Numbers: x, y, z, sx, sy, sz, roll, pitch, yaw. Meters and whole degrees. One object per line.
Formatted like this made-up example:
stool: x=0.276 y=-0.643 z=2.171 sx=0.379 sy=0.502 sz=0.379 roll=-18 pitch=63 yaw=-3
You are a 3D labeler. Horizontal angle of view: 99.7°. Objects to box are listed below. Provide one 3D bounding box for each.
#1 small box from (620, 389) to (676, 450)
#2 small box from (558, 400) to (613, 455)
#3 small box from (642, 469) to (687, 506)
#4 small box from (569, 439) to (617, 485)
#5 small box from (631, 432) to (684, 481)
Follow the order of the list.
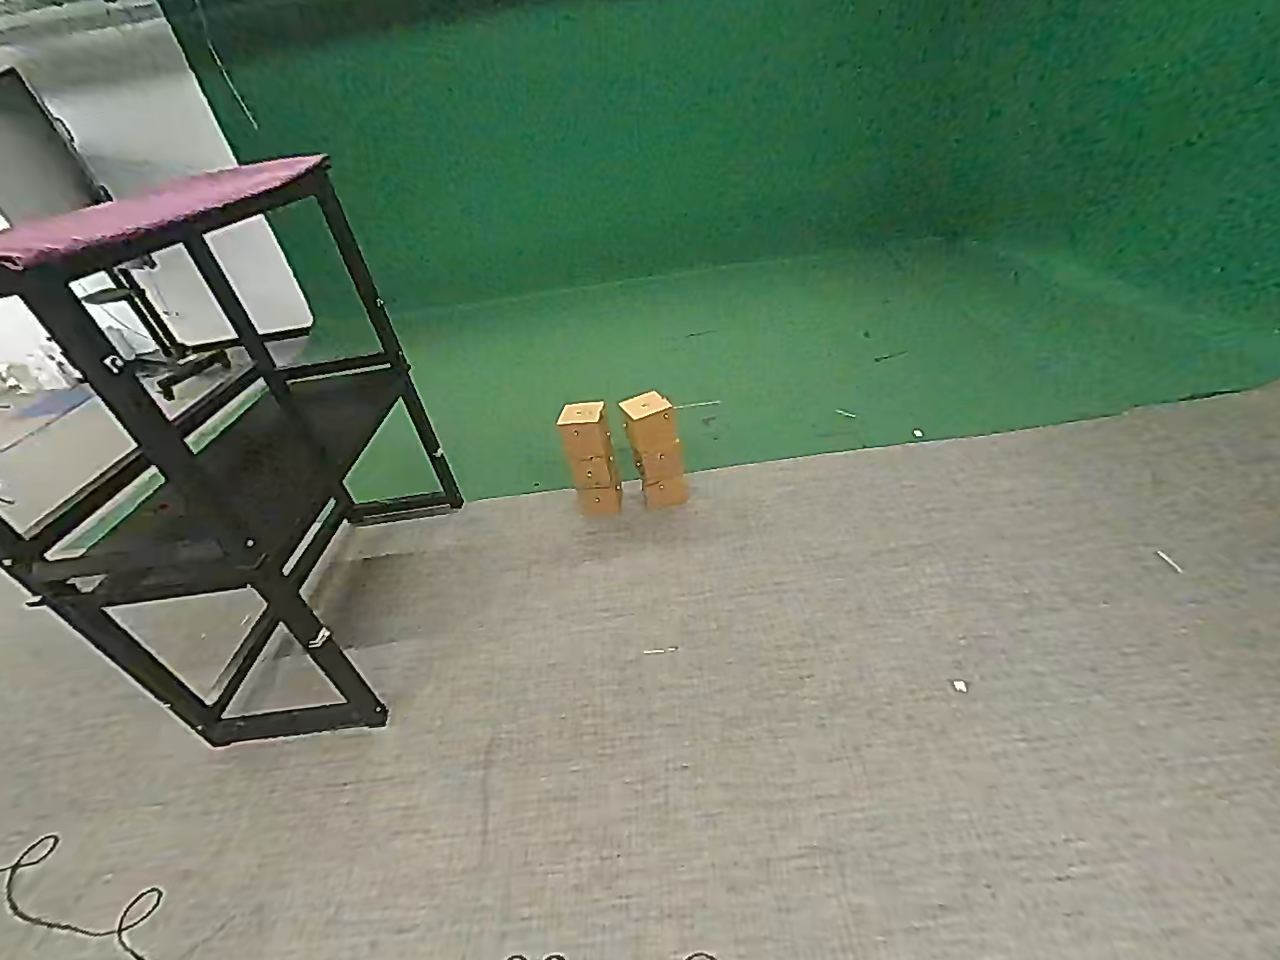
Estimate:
small box: x=0.037 y=-0.249 z=2.242 sx=0.179 sy=0.176 sz=0.168 roll=-22 pitch=39 yaw=-17
small box: x=-0.224 y=-0.216 z=2.252 sx=0.179 sy=0.176 sz=0.168 roll=-3 pitch=37 yaw=11
small box: x=0.106 y=0.000 z=2.440 sx=0.179 sy=0.176 sz=0.168 roll=-11 pitch=37 yaw=-3
small box: x=-0.200 y=-0.091 z=2.360 sx=0.168 sy=0.176 sz=0.179 roll=-4 pitch=37 yaw=9
small box: x=0.076 y=-0.120 z=2.336 sx=0.179 sy=0.176 sz=0.168 roll=-19 pitch=39 yaw=-13
